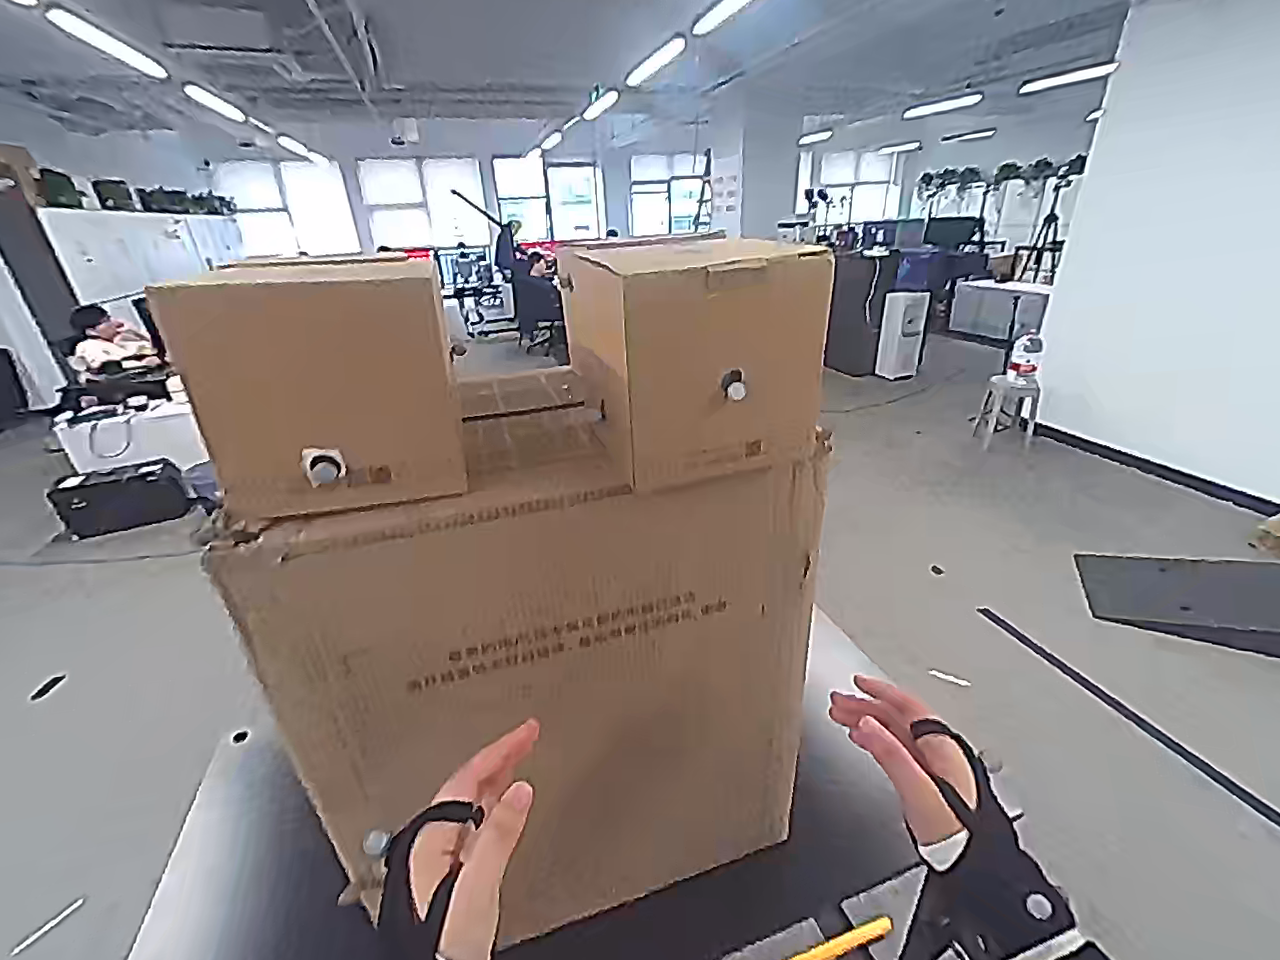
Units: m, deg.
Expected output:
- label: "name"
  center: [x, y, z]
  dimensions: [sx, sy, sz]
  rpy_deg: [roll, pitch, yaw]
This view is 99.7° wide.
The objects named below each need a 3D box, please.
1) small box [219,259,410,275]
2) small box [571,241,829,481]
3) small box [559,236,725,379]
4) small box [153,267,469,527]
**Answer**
- label: "small box"
  center: [-0.338, -0.159, 0.619]
  dimensions: [0.168, 0.176, 0.179]
  rpy_deg: [-12, 26, -21]
- label: "small box"
  center: [0.043, -0.109, 0.484]
  dimensions: [0.168, 0.176, 0.179]
  rpy_deg: [-11, 30, -15]
- label: "small box"
  center: [-0.001, -0.213, 0.693]
  dimensions: [0.168, 0.176, 0.179]
  rpy_deg: [-12, 25, -15]
- label: "small box"
  center: [-0.241, -0.081, 0.451]
  dimensions: [0.168, 0.176, 0.179]
  rpy_deg: [-9, 27, -16]
